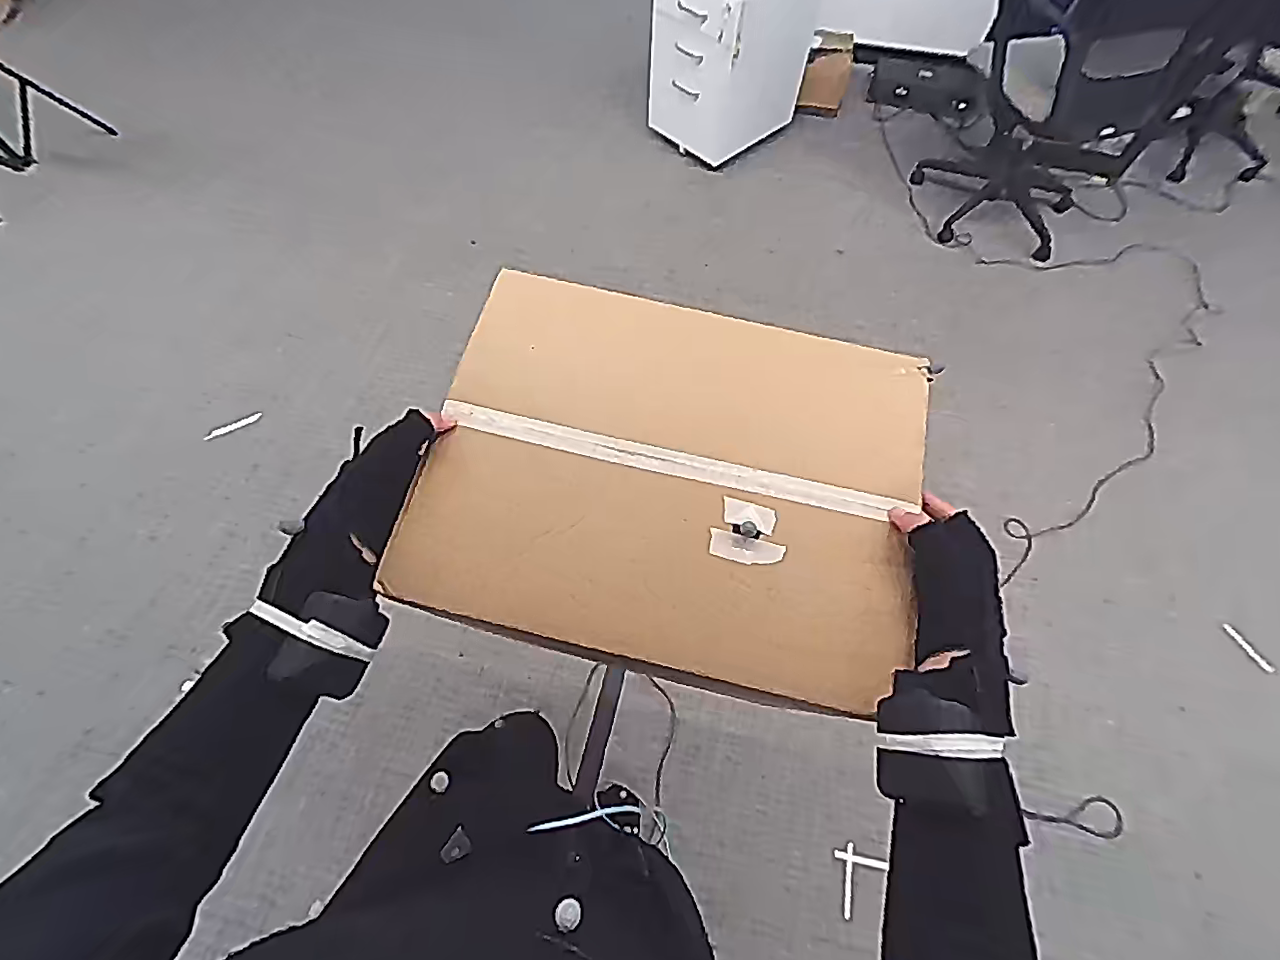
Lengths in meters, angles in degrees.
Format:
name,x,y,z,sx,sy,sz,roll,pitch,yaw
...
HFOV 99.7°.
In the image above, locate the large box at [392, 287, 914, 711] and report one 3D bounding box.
name,x,y,z,sx,sy,sz,roll,pitch,yaw
large box,0.023,0.044,0.599,0.408,0.320,0.320,13,71,2
